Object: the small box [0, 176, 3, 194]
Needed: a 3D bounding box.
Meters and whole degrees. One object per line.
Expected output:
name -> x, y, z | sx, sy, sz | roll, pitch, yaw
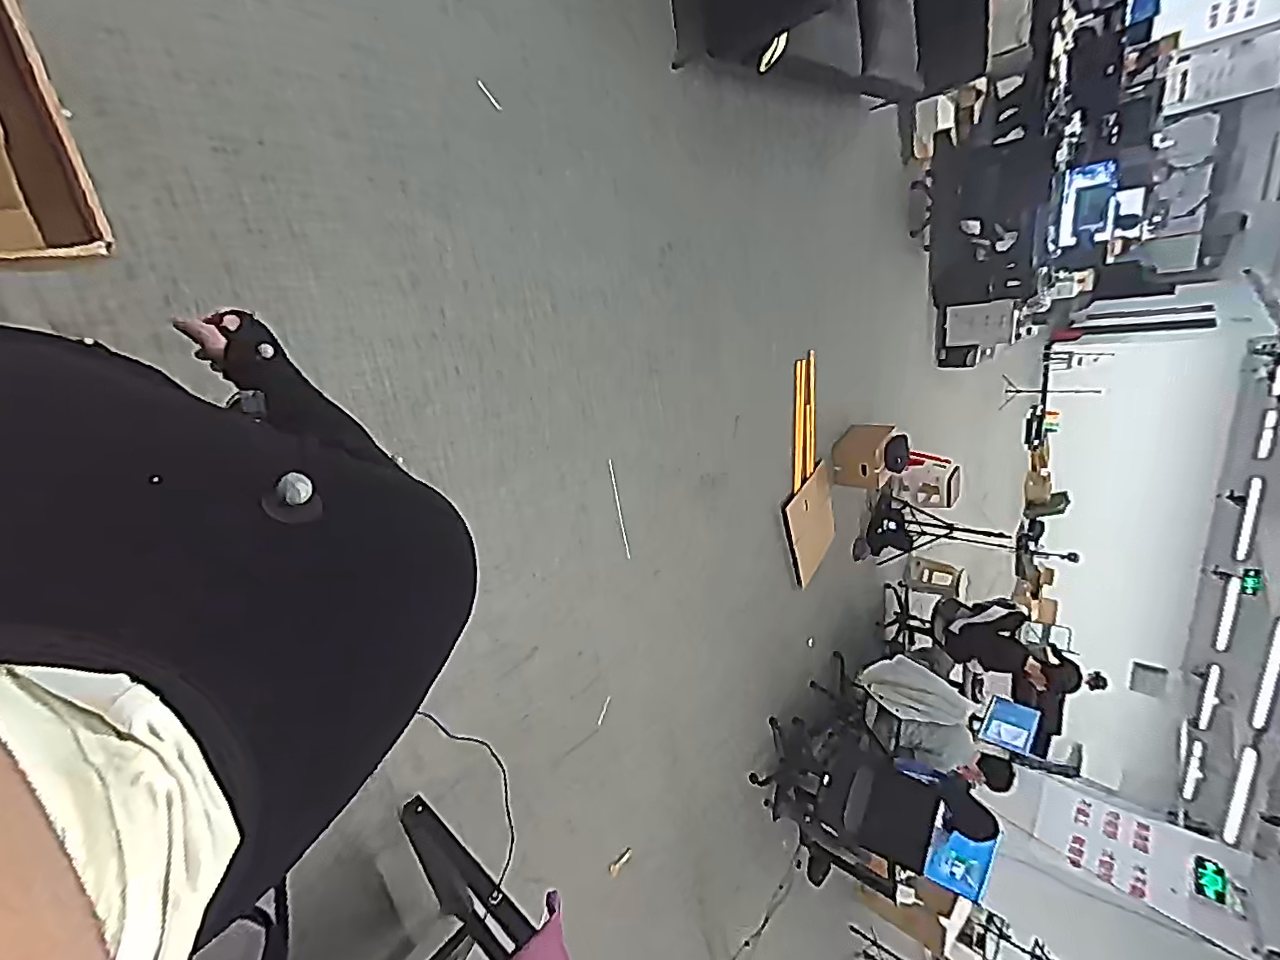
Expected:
small box -> -0.931, -0.454, 0.654 | 0.168, 0.176, 0.179 | -27, 115, -42
